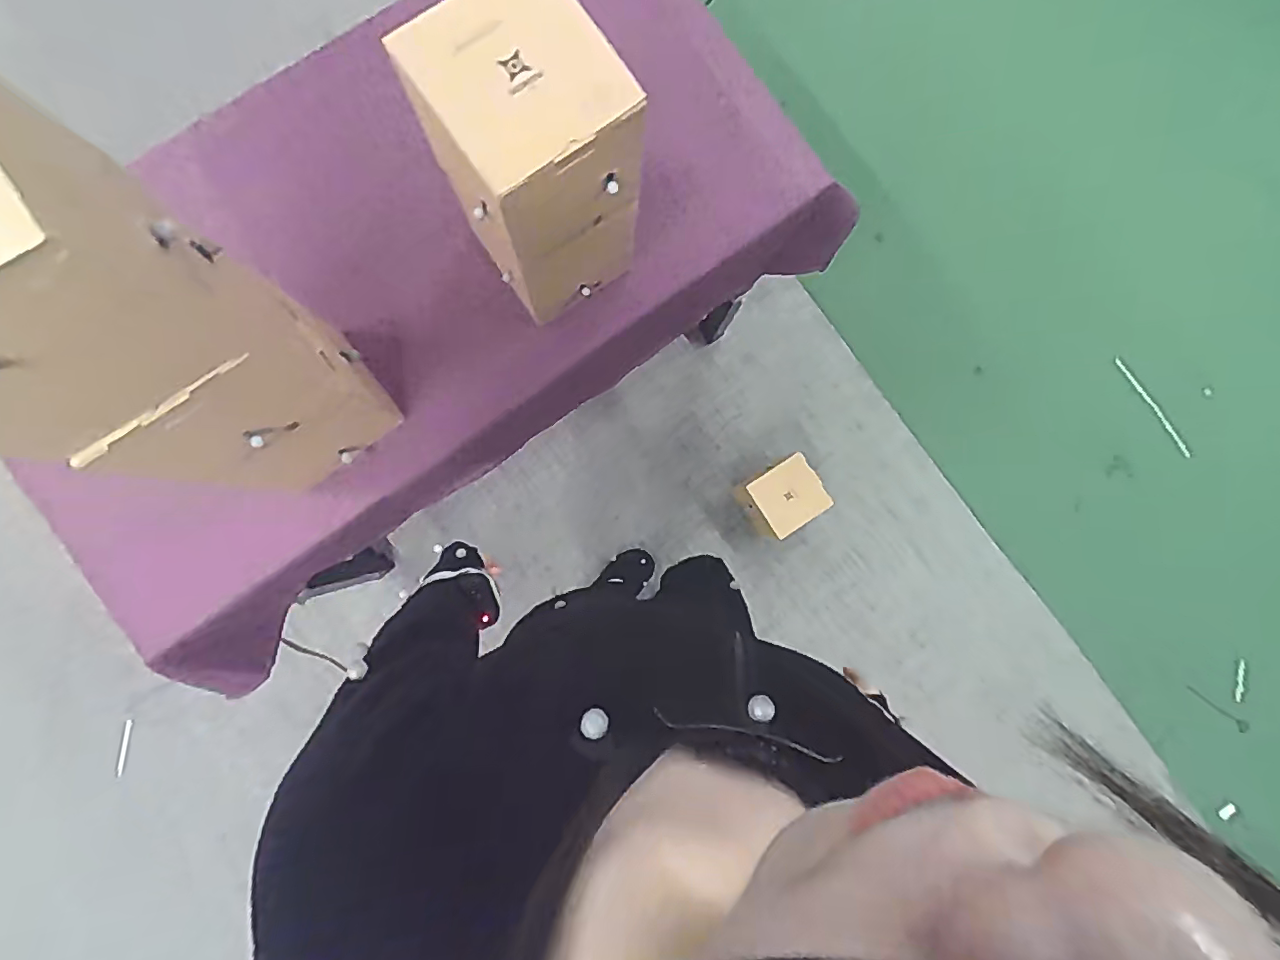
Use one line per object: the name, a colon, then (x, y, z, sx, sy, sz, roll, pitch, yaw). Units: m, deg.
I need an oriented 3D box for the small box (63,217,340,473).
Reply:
small box: (-0.439, -0.122, 0.520, 0.168, 0.176, 0.179, -36, 89, -5)

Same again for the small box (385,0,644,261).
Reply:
small box: (-0.114, -0.356, 0.557, 0.168, 0.176, 0.179, -36, 89, -5)

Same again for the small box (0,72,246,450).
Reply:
small box: (-0.425, -0.137, 0.356, 0.179, 0.176, 0.168, -34, 89, -6)

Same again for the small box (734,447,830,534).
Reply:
small box: (0.371, 0.032, 1.463, 0.179, 0.176, 0.168, -33, 90, -6)

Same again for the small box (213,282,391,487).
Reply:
small box: (-0.447, -0.107, 0.684, 0.179, 0.176, 0.168, -38, 89, -6)
